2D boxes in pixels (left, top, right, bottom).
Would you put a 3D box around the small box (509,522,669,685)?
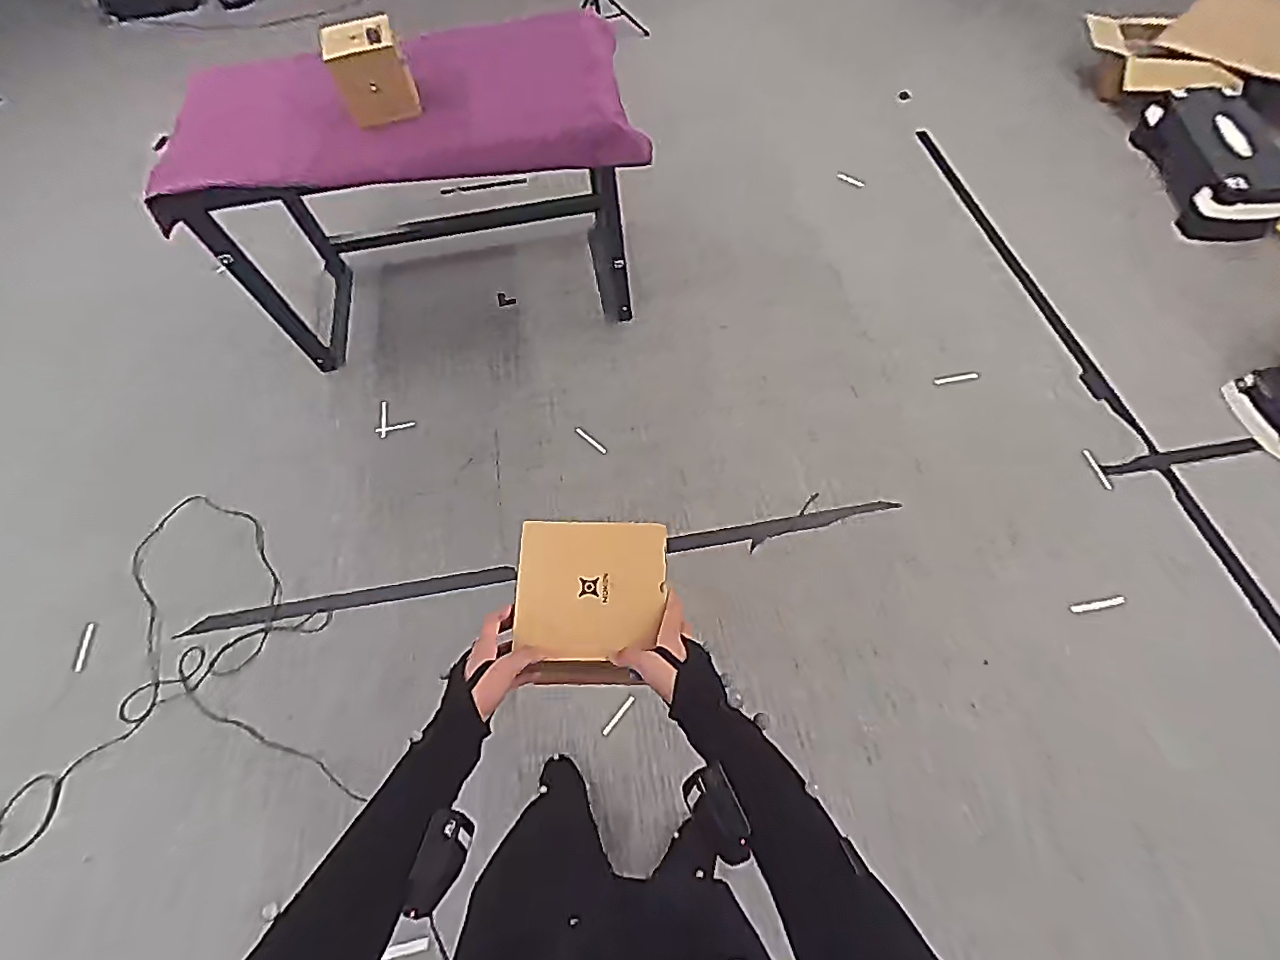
[{"bbox_3d":[-0.060,0.164,0.692,0.179,0.176,0.168,2,61,-5],"label":"small box"}]
